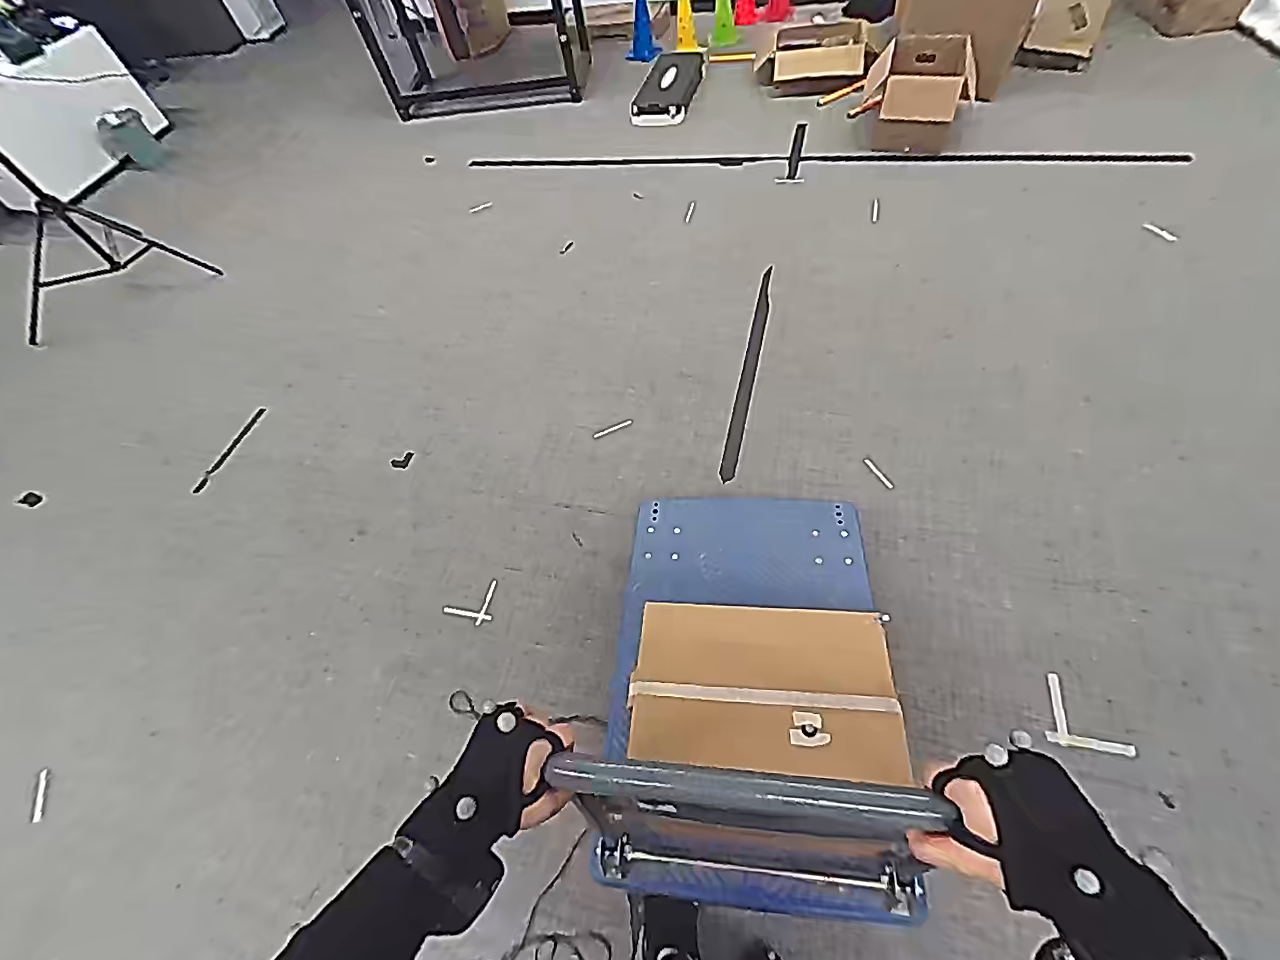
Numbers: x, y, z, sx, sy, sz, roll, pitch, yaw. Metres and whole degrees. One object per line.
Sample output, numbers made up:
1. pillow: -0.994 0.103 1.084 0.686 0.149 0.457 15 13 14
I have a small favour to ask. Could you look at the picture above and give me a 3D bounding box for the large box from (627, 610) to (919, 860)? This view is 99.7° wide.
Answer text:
1. large box: 0.204 0.447 0.950 0.408 0.320 0.320 1 50 8
